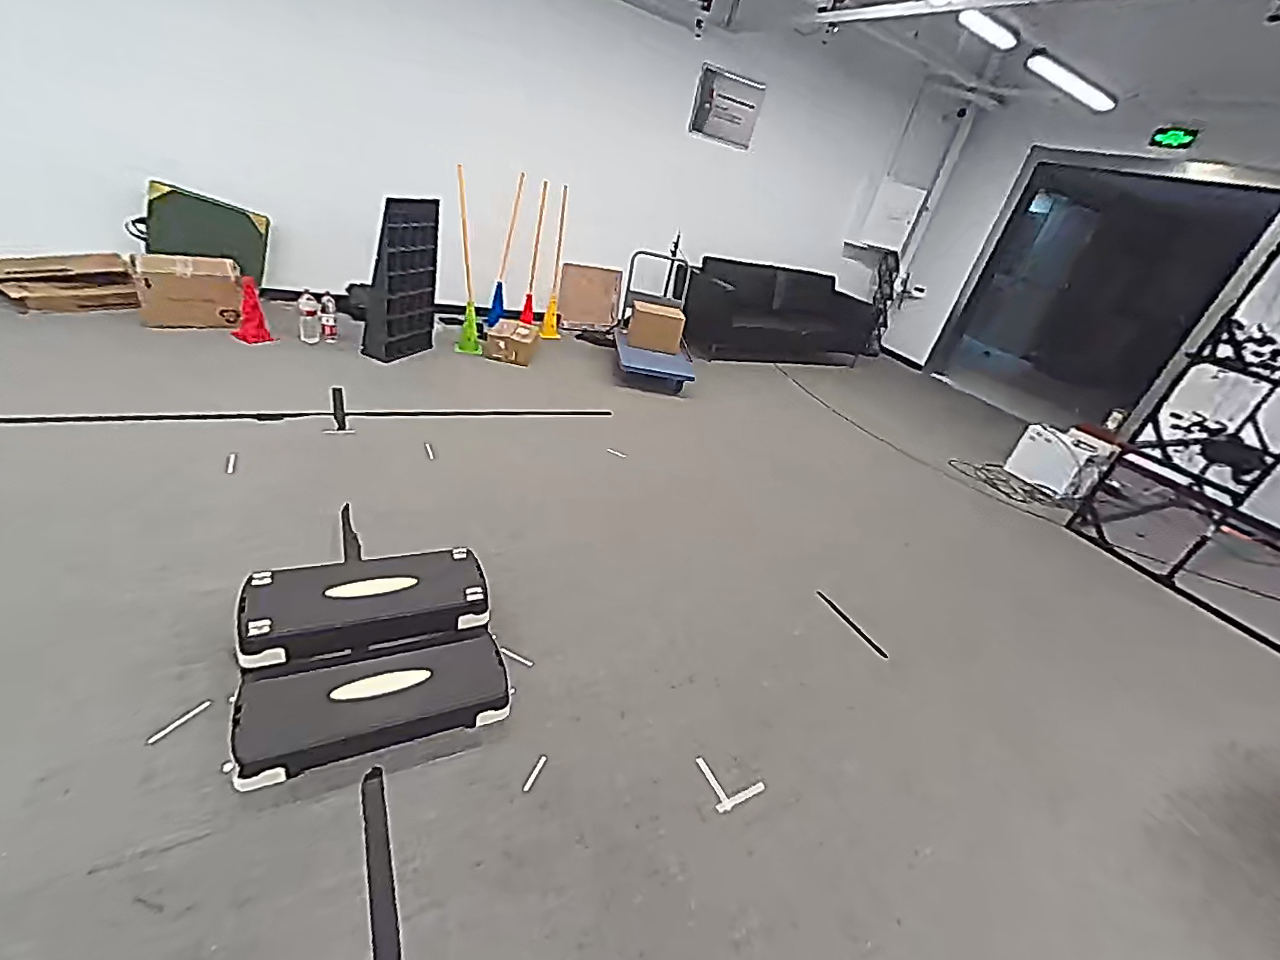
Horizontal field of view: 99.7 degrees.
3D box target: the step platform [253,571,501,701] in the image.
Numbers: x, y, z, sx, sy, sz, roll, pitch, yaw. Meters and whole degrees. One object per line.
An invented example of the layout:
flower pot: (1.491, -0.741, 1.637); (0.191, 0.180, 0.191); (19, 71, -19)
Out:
step platform: (-0.791, 0.460, 1.690); (0.684, 0.204, 0.286); (0, 31, -26)
